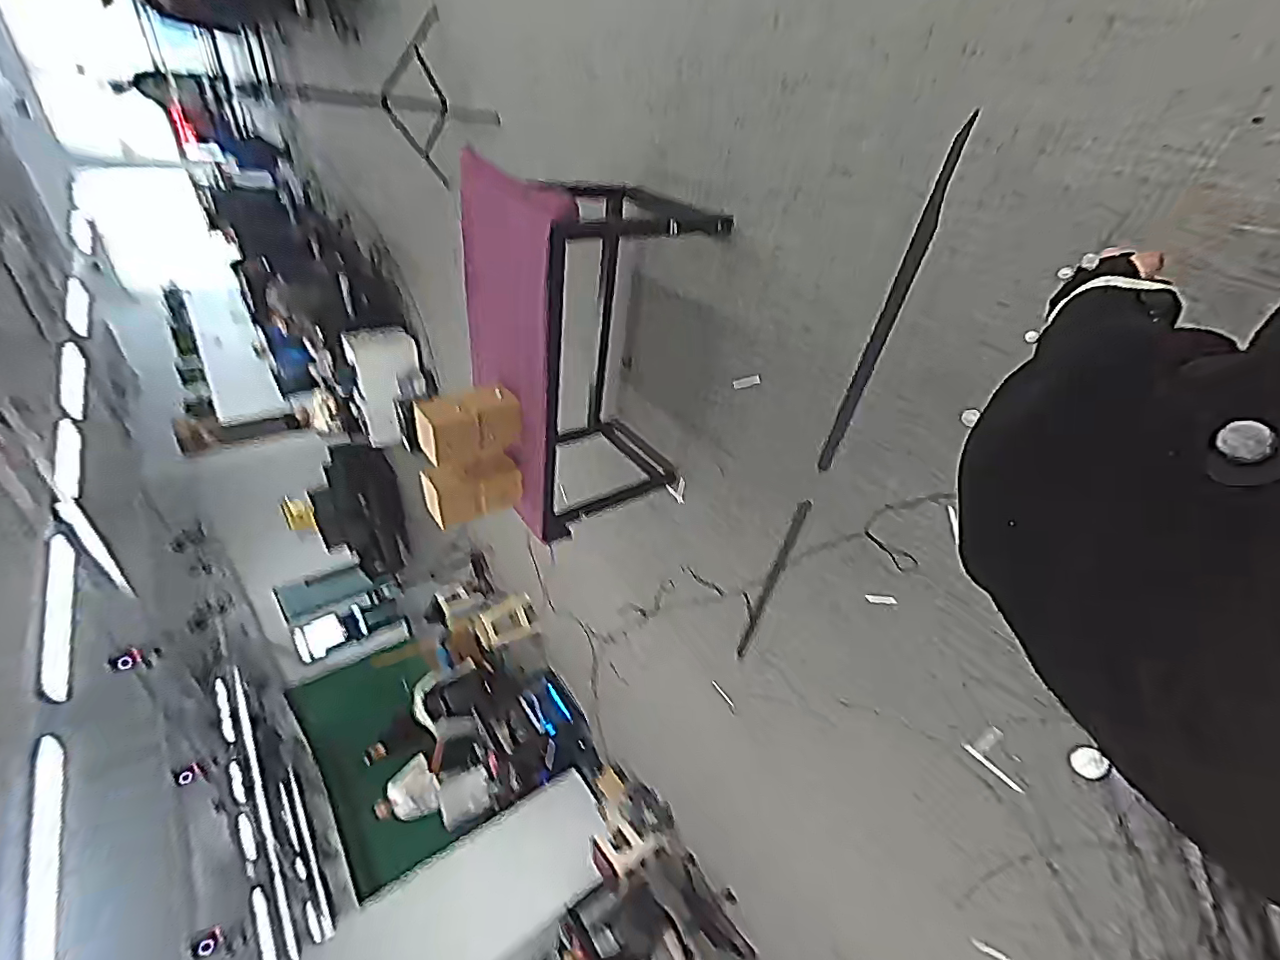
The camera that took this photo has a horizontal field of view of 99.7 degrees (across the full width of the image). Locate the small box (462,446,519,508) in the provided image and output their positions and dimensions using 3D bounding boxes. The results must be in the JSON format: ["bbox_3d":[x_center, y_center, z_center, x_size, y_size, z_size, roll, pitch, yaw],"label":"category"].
[{"bbox_3d":[-0.595,-0.018,2.170,0.179,0.176,0.168,40,137,39],"label":"small box"}]

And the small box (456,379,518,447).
[{"bbox_3d":[-0.560,-0.252,1.994,0.168,0.176,0.179,41,136,37],"label":"small box"}]

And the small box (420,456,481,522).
[{"bbox_3d":[-0.730,0.029,2.089,0.168,0.176,0.179,39,135,40],"label":"small box"}]

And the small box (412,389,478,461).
[{"bbox_3d":[-0.680,-0.198,1.899,0.168,0.176,0.179,42,136,34],"label":"small box"}]
